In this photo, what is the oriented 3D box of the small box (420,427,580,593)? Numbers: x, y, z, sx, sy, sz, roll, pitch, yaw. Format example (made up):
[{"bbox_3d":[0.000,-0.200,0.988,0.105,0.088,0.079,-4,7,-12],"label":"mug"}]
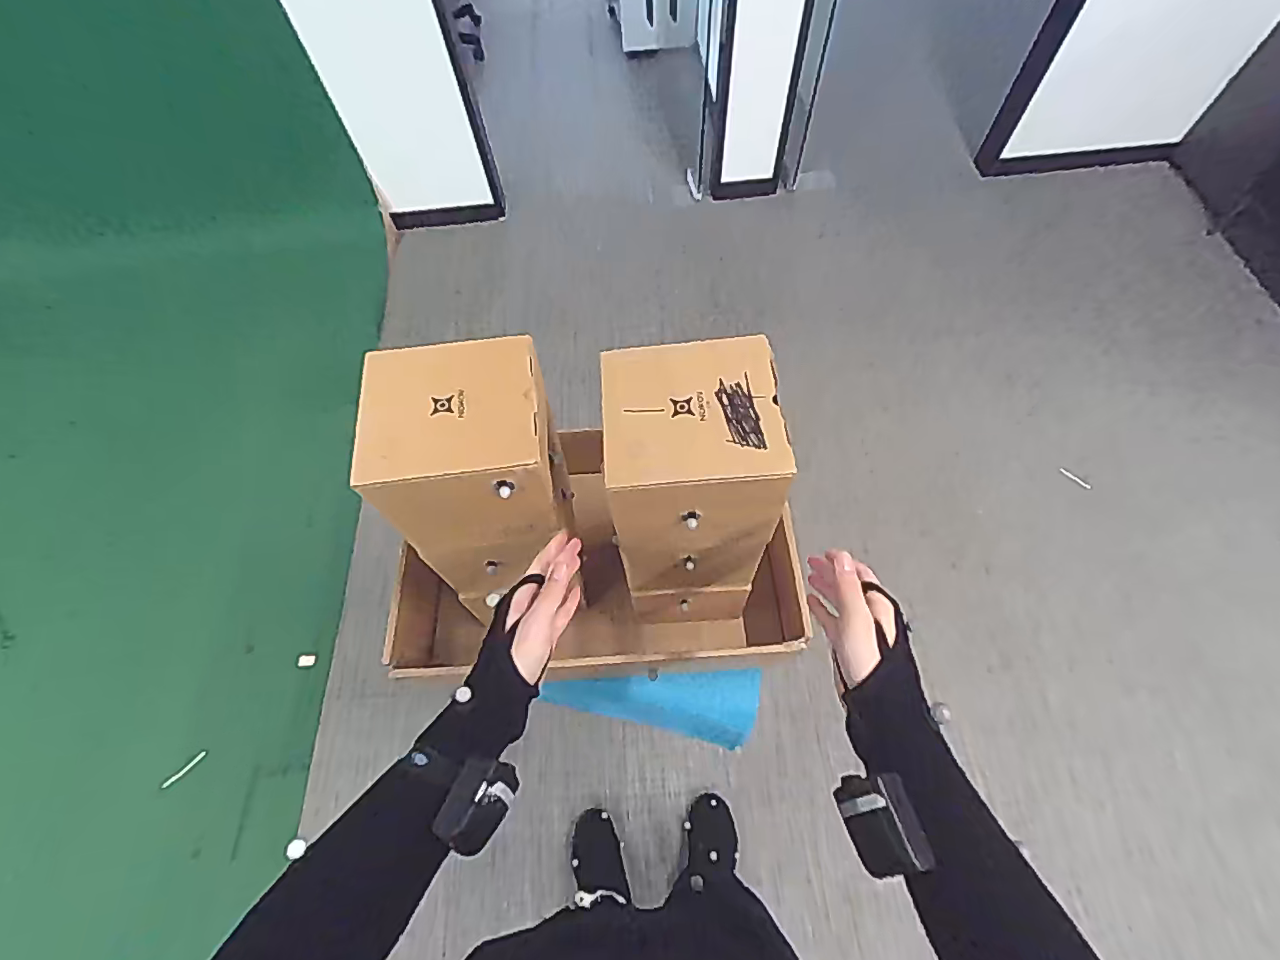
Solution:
[{"bbox_3d":[-0.185,0.048,0.753,0.179,0.176,0.168,-7,62,-4],"label":"small box"}]

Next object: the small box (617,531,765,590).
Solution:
[{"bbox_3d":[0.064,0.047,0.738,0.179,0.176,0.168,-3,61,2],"label":"small box"}]

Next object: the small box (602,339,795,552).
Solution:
[{"bbox_3d":[0.055,-0.030,0.594,0.179,0.176,0.168,-5,61,3],"label":"small box"}]

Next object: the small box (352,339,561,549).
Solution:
[{"bbox_3d":[-0.191,-0.033,0.610,0.179,0.176,0.168,-7,61,-5],"label":"small box"}]
